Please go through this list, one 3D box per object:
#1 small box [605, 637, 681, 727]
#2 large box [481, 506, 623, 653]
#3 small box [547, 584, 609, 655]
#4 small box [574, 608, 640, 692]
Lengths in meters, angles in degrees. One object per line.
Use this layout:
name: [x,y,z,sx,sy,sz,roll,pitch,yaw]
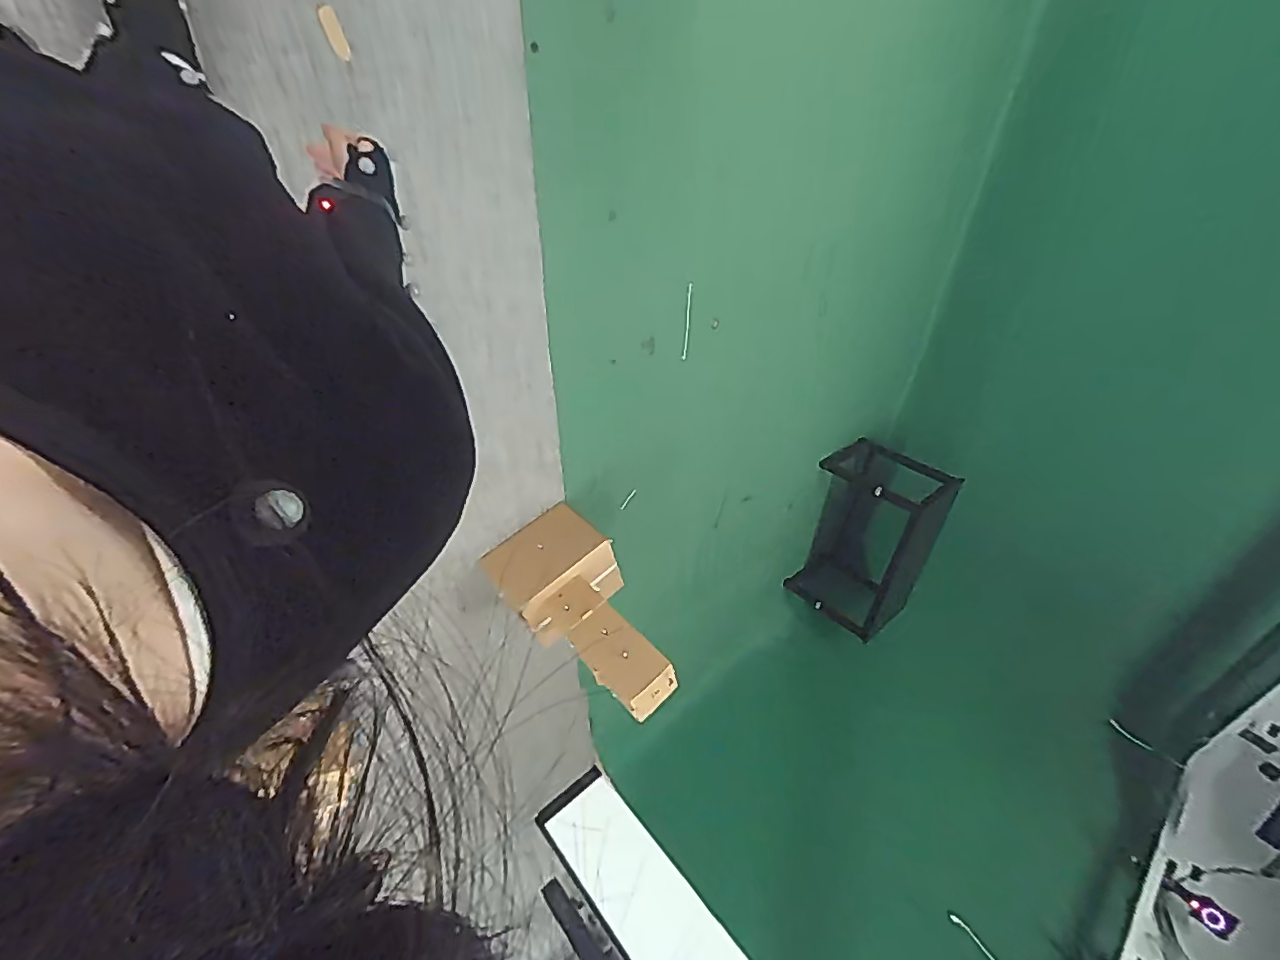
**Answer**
small box: [0.005,0.652,1.752,0.179,0.176,0.168,-36,138,-22]
large box: [-0.338,0.382,2.124,0.408,0.320,0.320,-39,140,-23]
small box: [-0.210,0.503,1.950,0.168,0.176,0.179,-37,138,-23]
small box: [-0.105,0.579,1.850,0.179,0.176,0.168,-38,138,-22]
